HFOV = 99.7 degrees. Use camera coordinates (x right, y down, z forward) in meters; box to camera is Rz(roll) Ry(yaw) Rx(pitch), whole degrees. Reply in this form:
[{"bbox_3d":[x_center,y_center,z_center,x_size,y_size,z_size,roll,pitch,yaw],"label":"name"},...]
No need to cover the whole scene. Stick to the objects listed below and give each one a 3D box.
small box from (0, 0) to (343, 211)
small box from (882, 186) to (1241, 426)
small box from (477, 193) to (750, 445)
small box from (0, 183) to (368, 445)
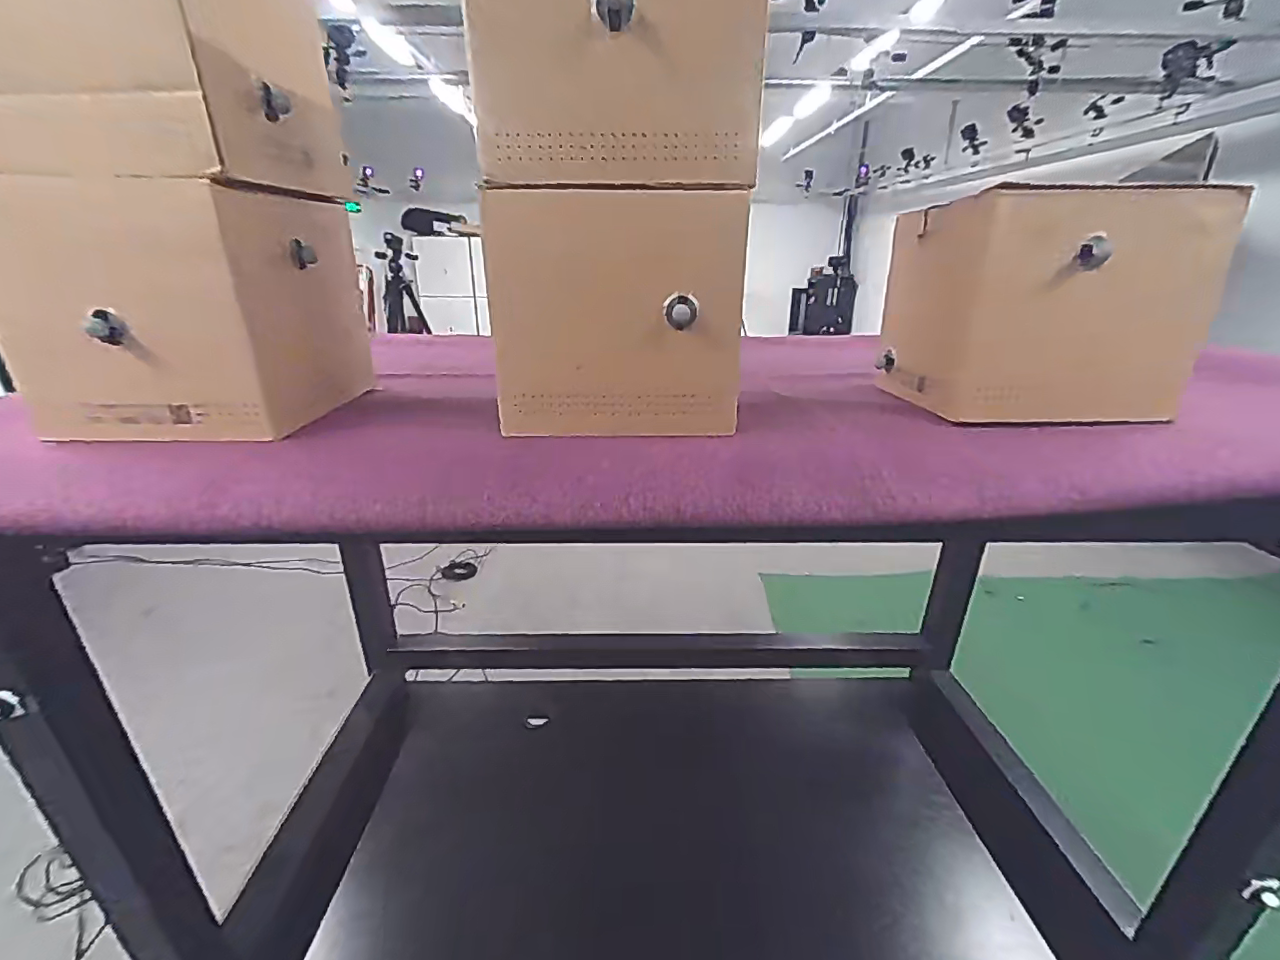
[{"bbox_3d":[-0.336,-0.281,0.365,0.179,0.176,0.168,0,24,-3],"label":"small box"},{"bbox_3d":[0.329,-0.145,0.471,0.179,0.176,0.168,0,20,0],"label":"small box"},{"bbox_3d":[-0.018,-0.132,0.444,0.179,0.176,0.168,-2,22,-2],"label":"small box"},{"bbox_3d":[-0.339,-0.131,0.428,0.168,0.176,0.179,1,23,-2],"label":"small box"}]
